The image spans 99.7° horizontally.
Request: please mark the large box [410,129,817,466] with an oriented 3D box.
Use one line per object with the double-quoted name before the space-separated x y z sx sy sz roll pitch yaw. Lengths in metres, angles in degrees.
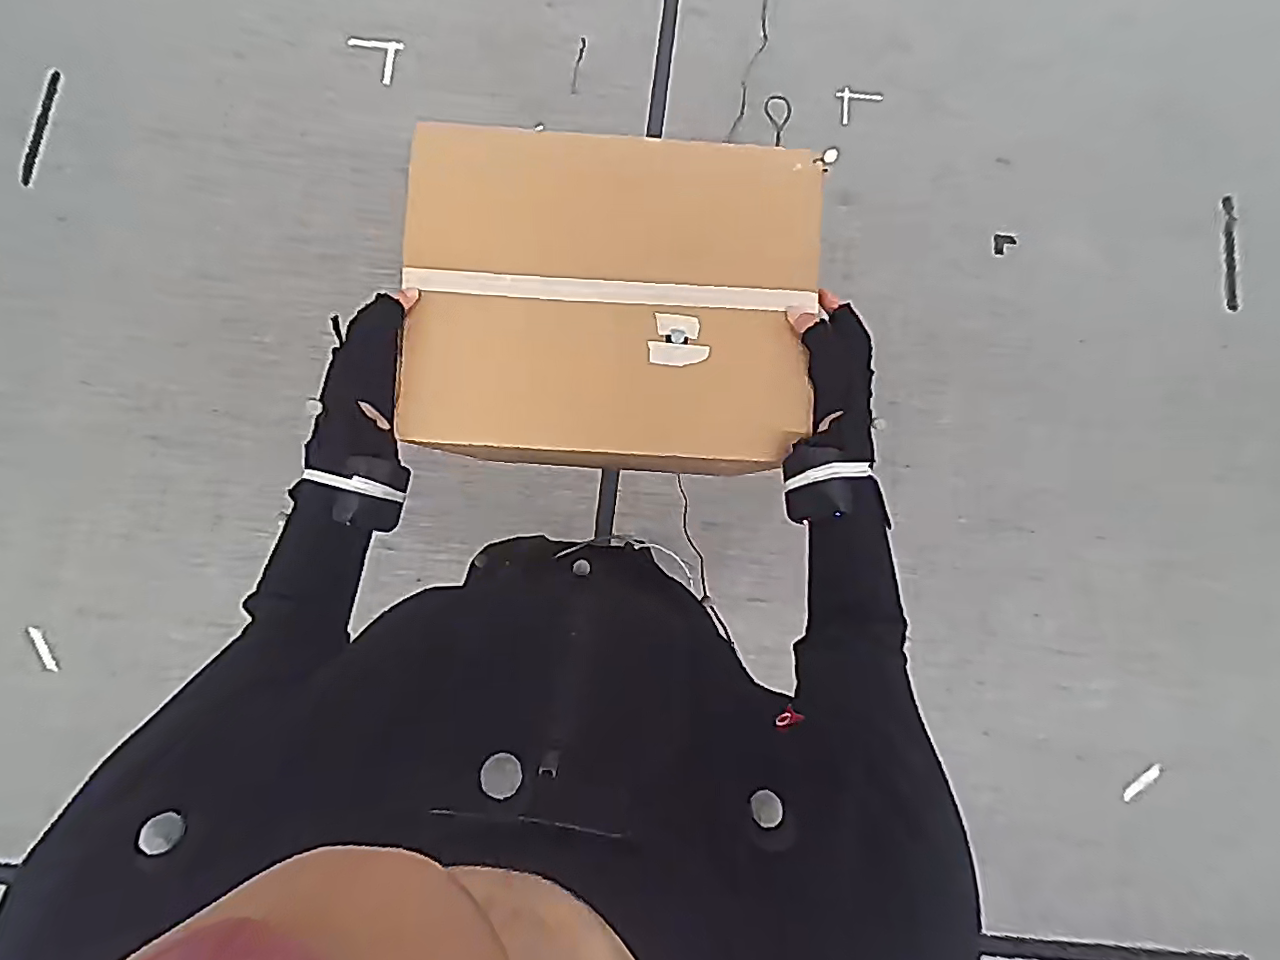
"large box" -0.030 -0.186 0.690 0.408 0.320 0.320 3 90 -2
